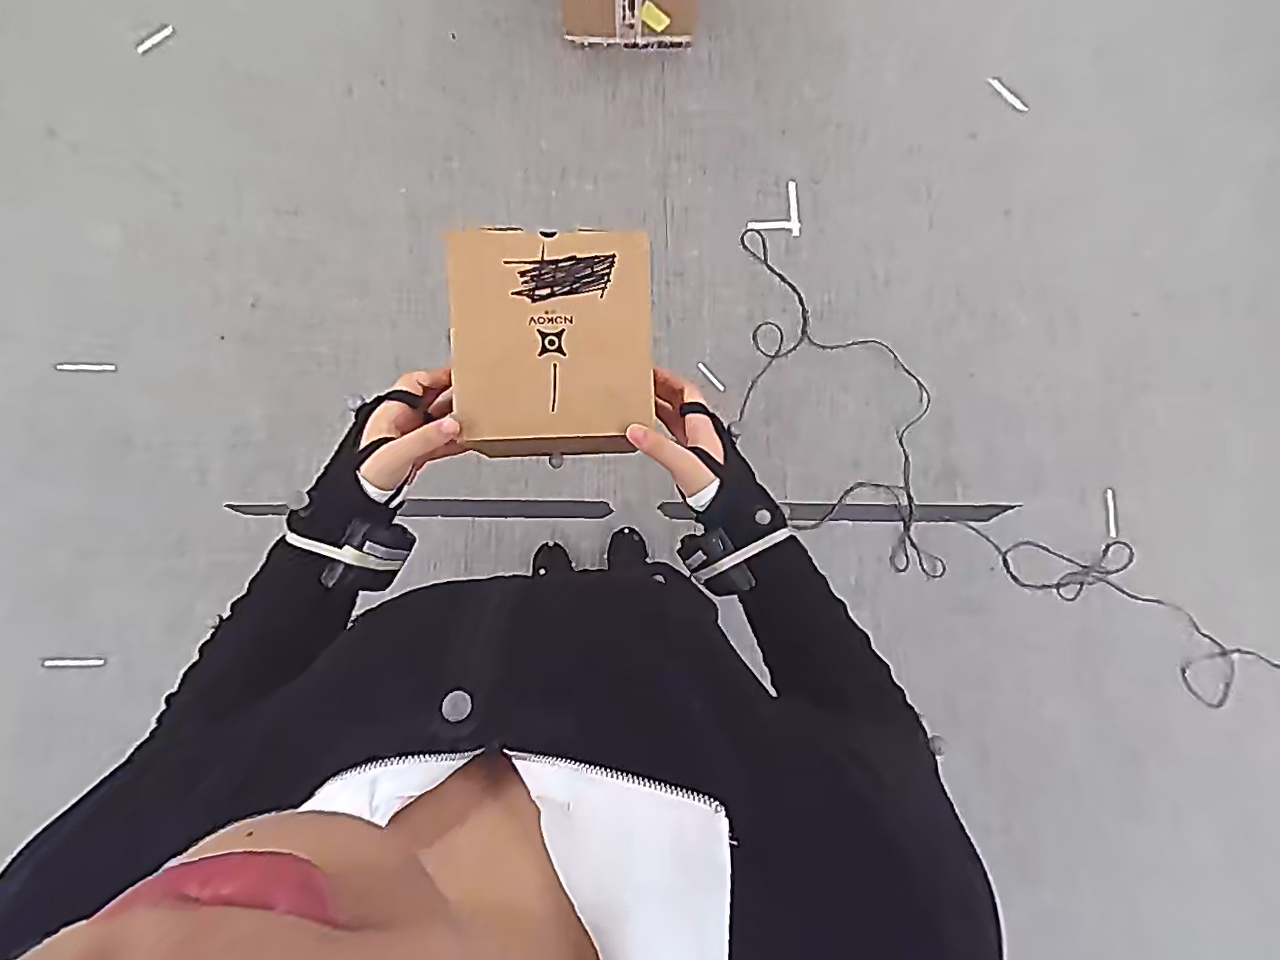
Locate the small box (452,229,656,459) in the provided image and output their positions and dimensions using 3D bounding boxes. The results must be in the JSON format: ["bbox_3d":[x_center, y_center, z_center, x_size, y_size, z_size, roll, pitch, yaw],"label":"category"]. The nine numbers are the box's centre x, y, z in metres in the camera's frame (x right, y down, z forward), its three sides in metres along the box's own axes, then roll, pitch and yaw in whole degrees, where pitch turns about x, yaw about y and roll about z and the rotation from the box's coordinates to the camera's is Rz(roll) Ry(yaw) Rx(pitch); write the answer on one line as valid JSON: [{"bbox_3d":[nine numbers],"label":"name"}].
[{"bbox_3d":[-0.079,-0.116,0.523,0.168,0.176,0.179,-2,88,-6],"label":"small box"}]
